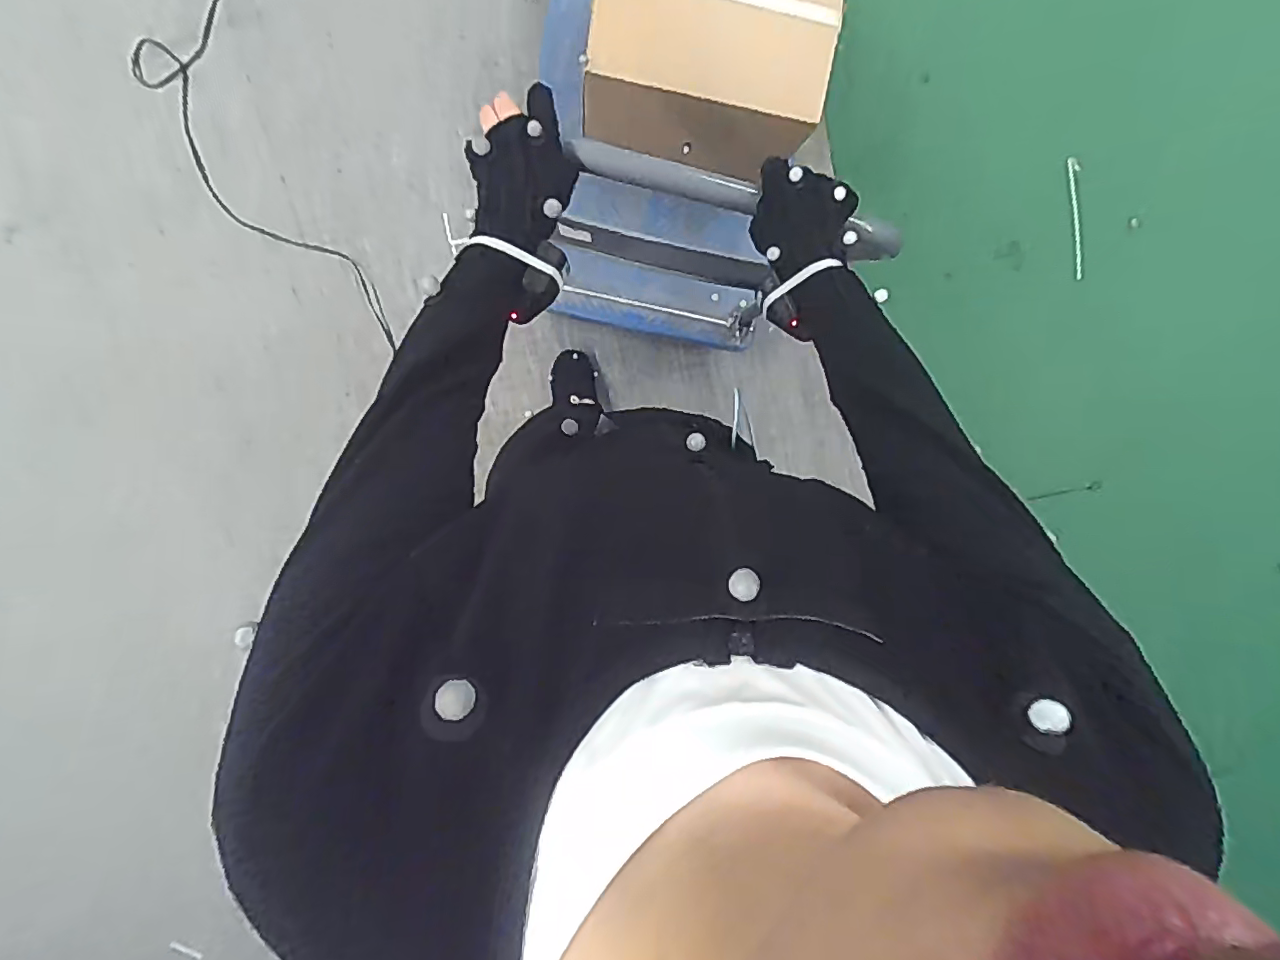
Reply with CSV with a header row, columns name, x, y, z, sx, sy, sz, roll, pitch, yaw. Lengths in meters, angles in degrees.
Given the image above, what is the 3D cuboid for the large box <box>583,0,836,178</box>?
name,x,y,z,sx,sy,sz,roll,pitch,yaw
large box,0.113,-0.814,1.018,0.408,0.320,0.320,8,98,-7
